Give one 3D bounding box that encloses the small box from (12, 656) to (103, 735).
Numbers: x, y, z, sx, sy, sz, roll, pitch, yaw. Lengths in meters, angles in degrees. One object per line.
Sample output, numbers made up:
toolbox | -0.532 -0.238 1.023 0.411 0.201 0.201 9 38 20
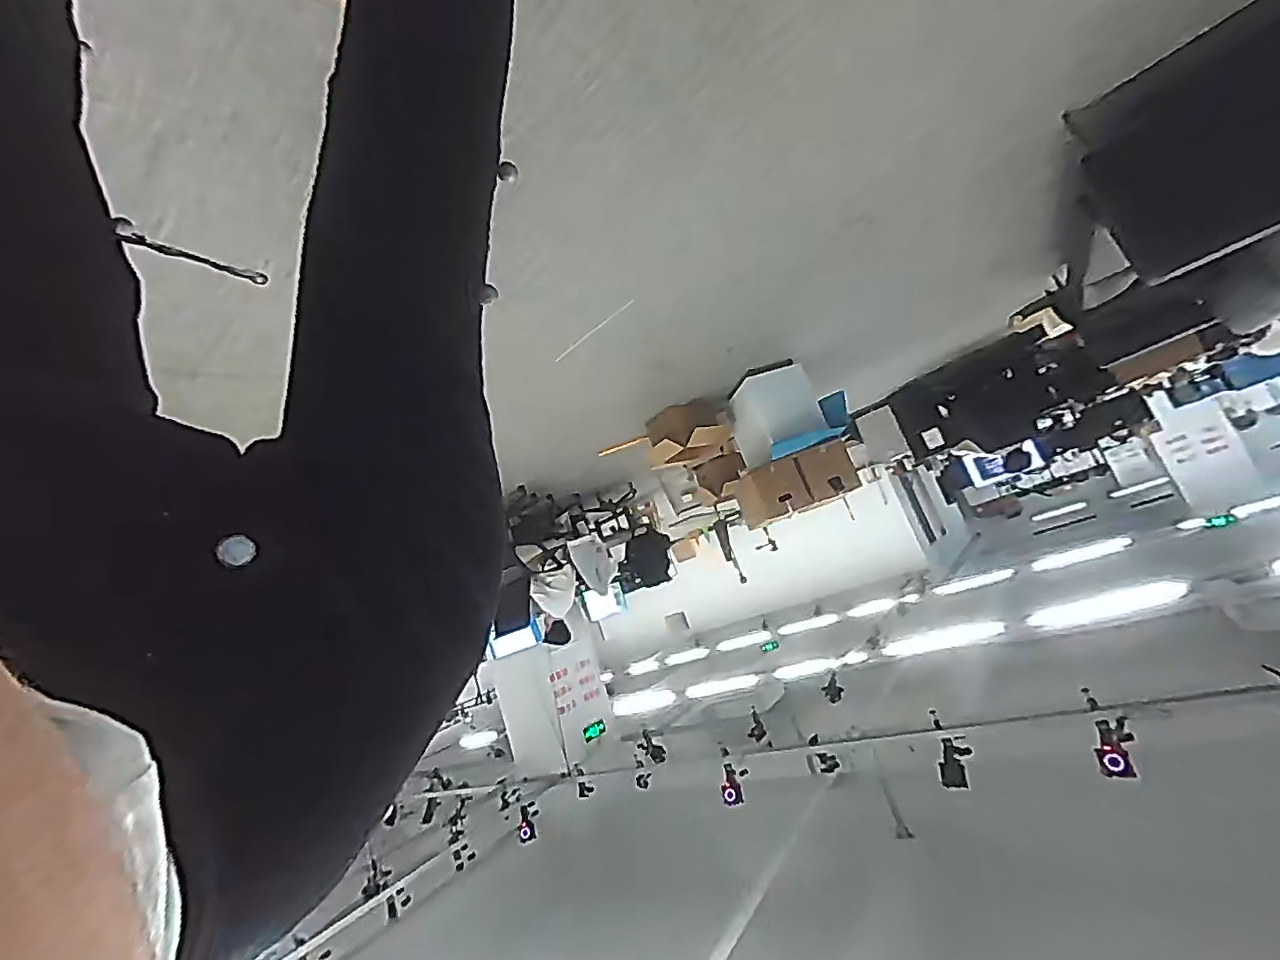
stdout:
small box | -1.775 0.648 1.643 0.179 0.176 0.168 -27 166 33
